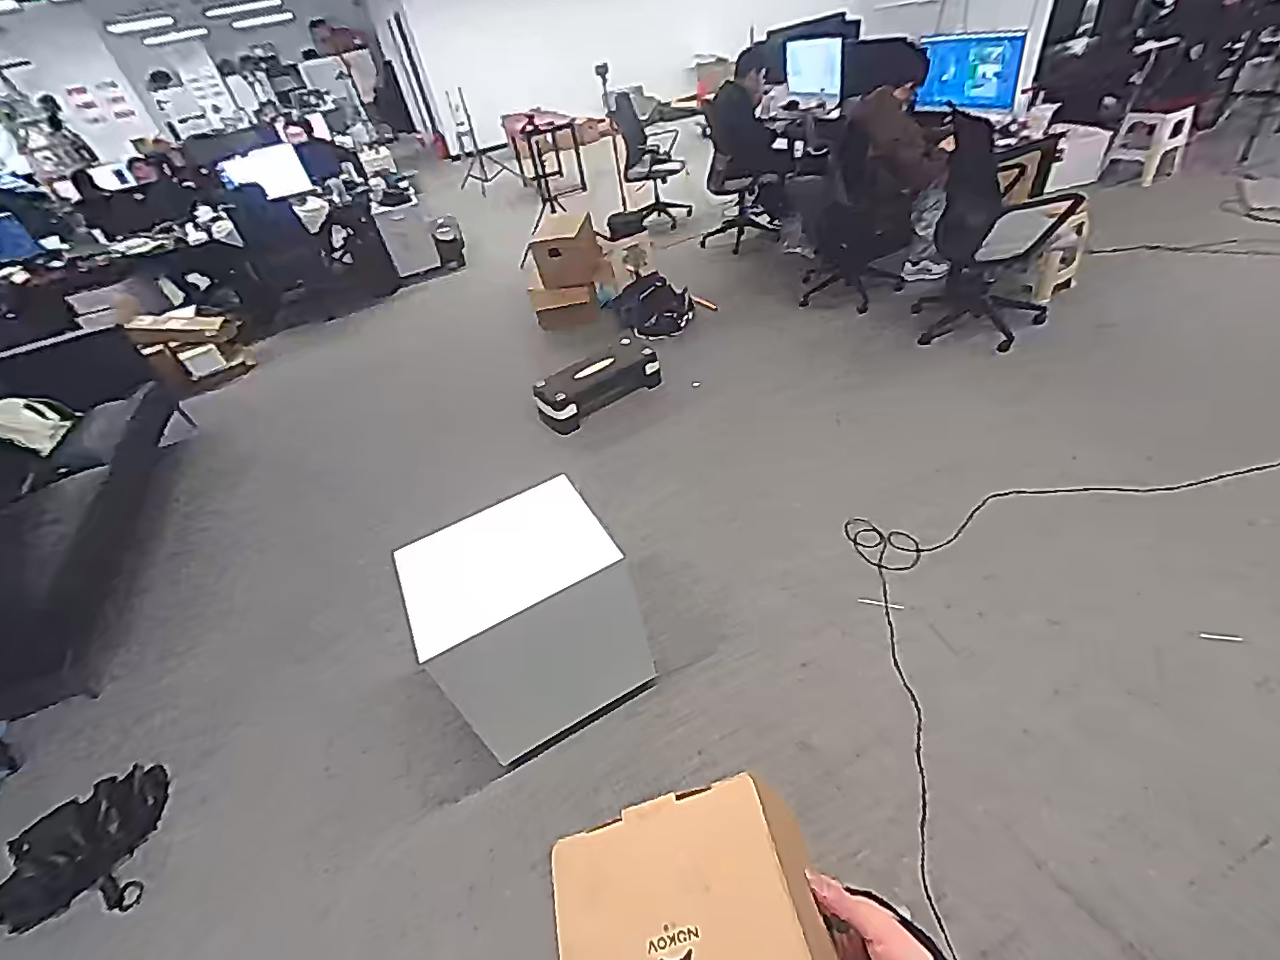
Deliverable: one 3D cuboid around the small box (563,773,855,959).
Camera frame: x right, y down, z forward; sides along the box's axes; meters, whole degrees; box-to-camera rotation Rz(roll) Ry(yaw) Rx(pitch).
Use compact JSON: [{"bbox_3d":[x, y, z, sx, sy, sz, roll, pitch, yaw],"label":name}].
[{"bbox_3d":[0.062,0.350,0.395,0.168,0.176,0.179,-25,45,7],"label":"small box"}]
